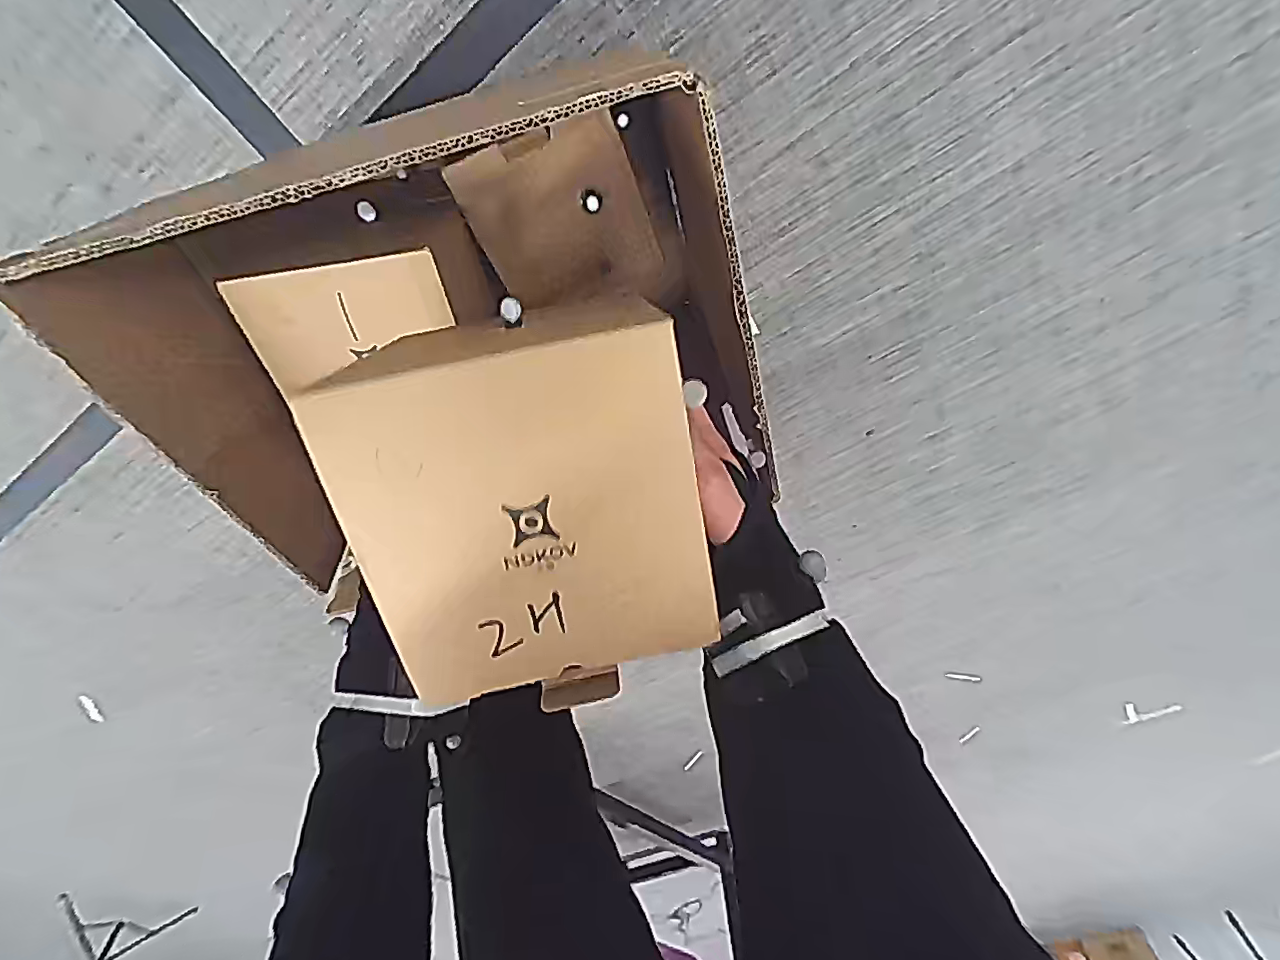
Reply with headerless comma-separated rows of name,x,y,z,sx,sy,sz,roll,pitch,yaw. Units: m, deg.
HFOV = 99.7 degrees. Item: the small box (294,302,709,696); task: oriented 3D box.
small box,-0.063,-0.006,0.337,0.168,0.176,0.179,-12,116,-1
